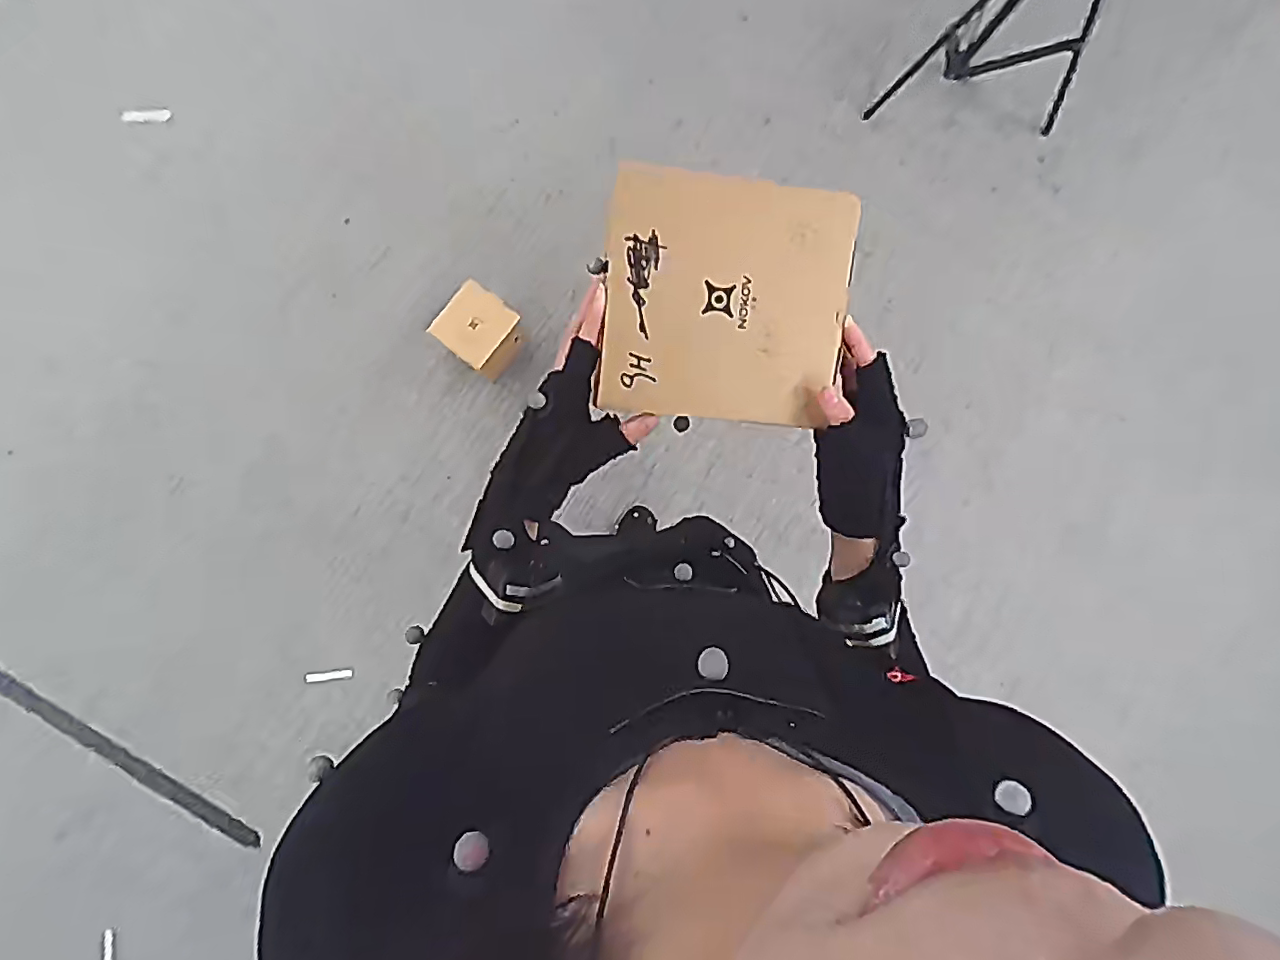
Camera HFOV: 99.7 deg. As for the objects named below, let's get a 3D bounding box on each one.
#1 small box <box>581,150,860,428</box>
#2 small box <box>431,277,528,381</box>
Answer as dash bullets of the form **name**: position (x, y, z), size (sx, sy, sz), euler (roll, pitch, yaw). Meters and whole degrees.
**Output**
- **small box**: position (0.048, -0.139, 0.449), size (0.179, 0.176, 0.168), euler (4, 98, -9)
- **small box**: position (-0.413, -0.391, 1.433), size (0.168, 0.176, 0.179), euler (37, 86, -1)
